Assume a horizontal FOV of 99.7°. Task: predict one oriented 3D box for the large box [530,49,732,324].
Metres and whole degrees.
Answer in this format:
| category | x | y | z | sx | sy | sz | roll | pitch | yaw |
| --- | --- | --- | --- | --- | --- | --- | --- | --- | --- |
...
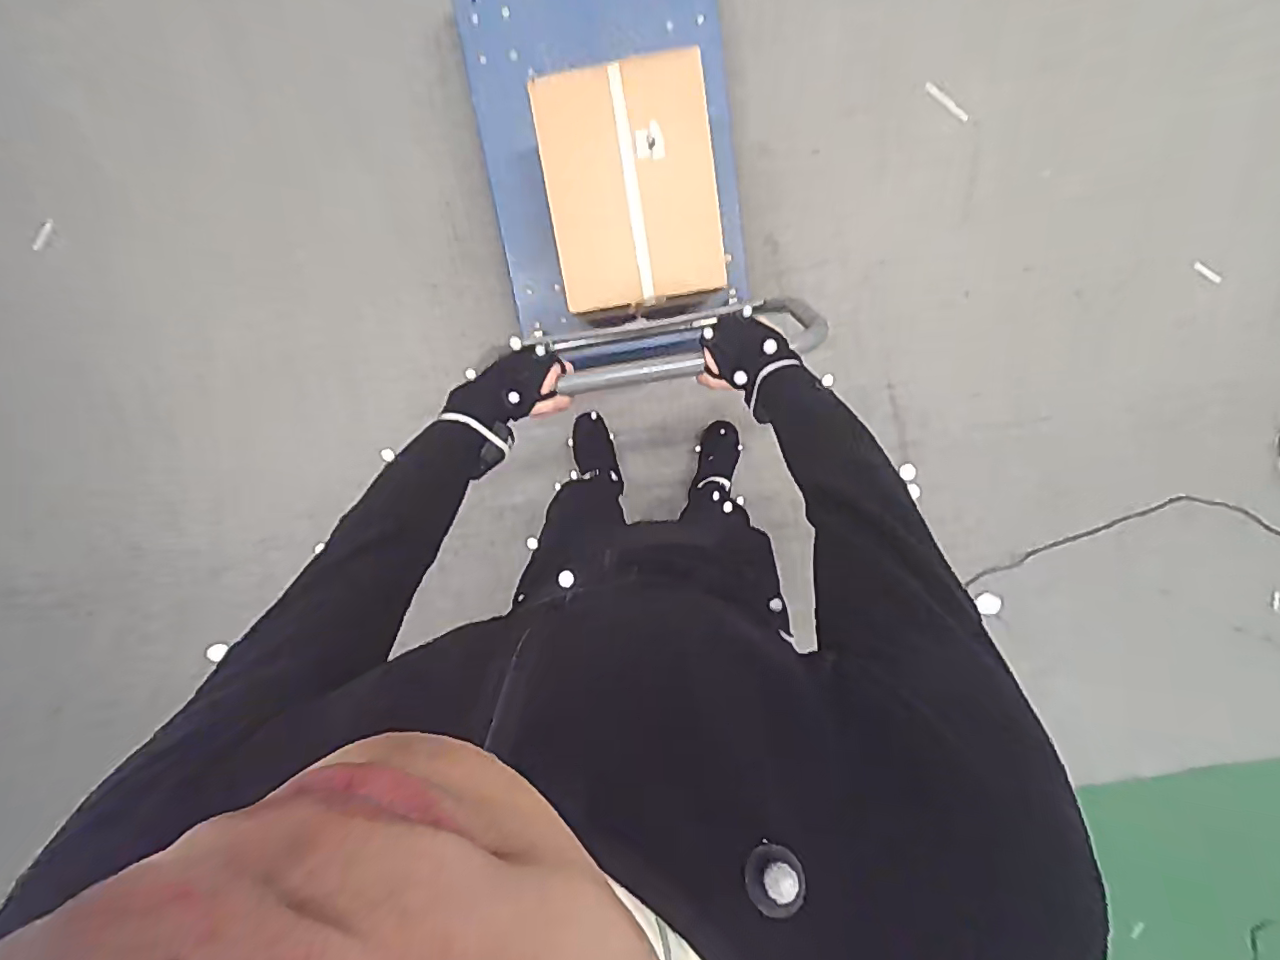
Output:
| category | x | y | z | sx | sy | sz | roll | pitch | yaw |
| --- | --- | --- | --- | --- | --- | --- | --- | --- | --- |
| large box | -0.010 | -0.565 | 1.130 | 0.320 | 0.320 | 0.408 | -9 | 102 | 1 |
